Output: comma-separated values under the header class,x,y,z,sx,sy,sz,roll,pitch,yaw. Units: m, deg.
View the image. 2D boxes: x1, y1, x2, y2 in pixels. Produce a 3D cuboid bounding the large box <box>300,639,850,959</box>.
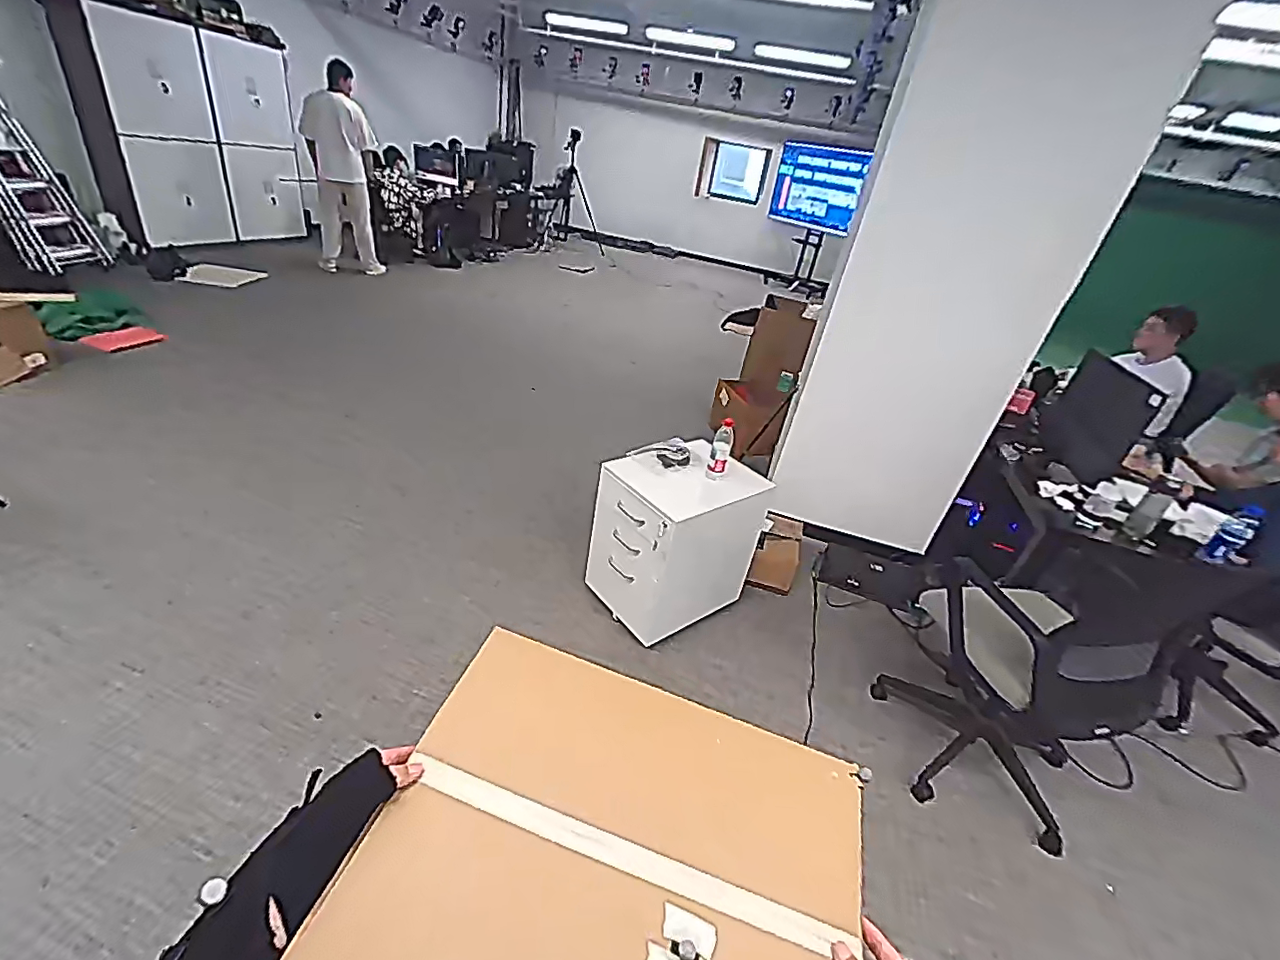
class,x,y,z,sx,sy,sz,roll,pitch,yaw
large box,-0.045,0.434,0.555,0.408,0.320,0.320,19,40,7
